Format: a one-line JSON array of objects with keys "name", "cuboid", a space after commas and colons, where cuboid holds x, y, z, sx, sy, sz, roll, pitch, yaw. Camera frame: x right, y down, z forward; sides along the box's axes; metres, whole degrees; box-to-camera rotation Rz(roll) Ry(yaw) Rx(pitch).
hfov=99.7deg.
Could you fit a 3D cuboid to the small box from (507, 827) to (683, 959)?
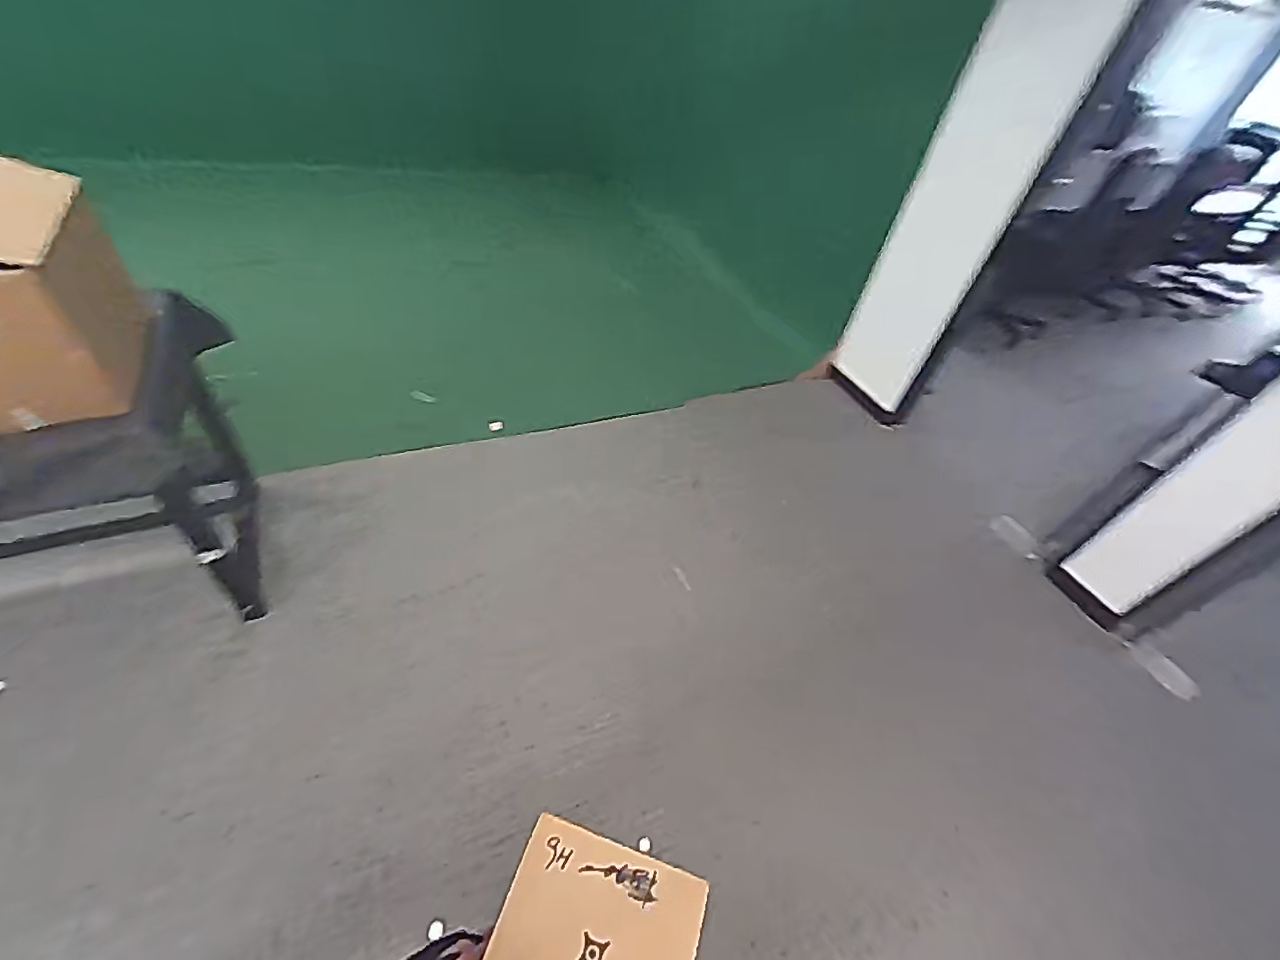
[{"name": "small box", "cuboid": [-0.056, 0.545, 0.636, 0.168, 0.176, 0.179, 15, 50, 7]}]
